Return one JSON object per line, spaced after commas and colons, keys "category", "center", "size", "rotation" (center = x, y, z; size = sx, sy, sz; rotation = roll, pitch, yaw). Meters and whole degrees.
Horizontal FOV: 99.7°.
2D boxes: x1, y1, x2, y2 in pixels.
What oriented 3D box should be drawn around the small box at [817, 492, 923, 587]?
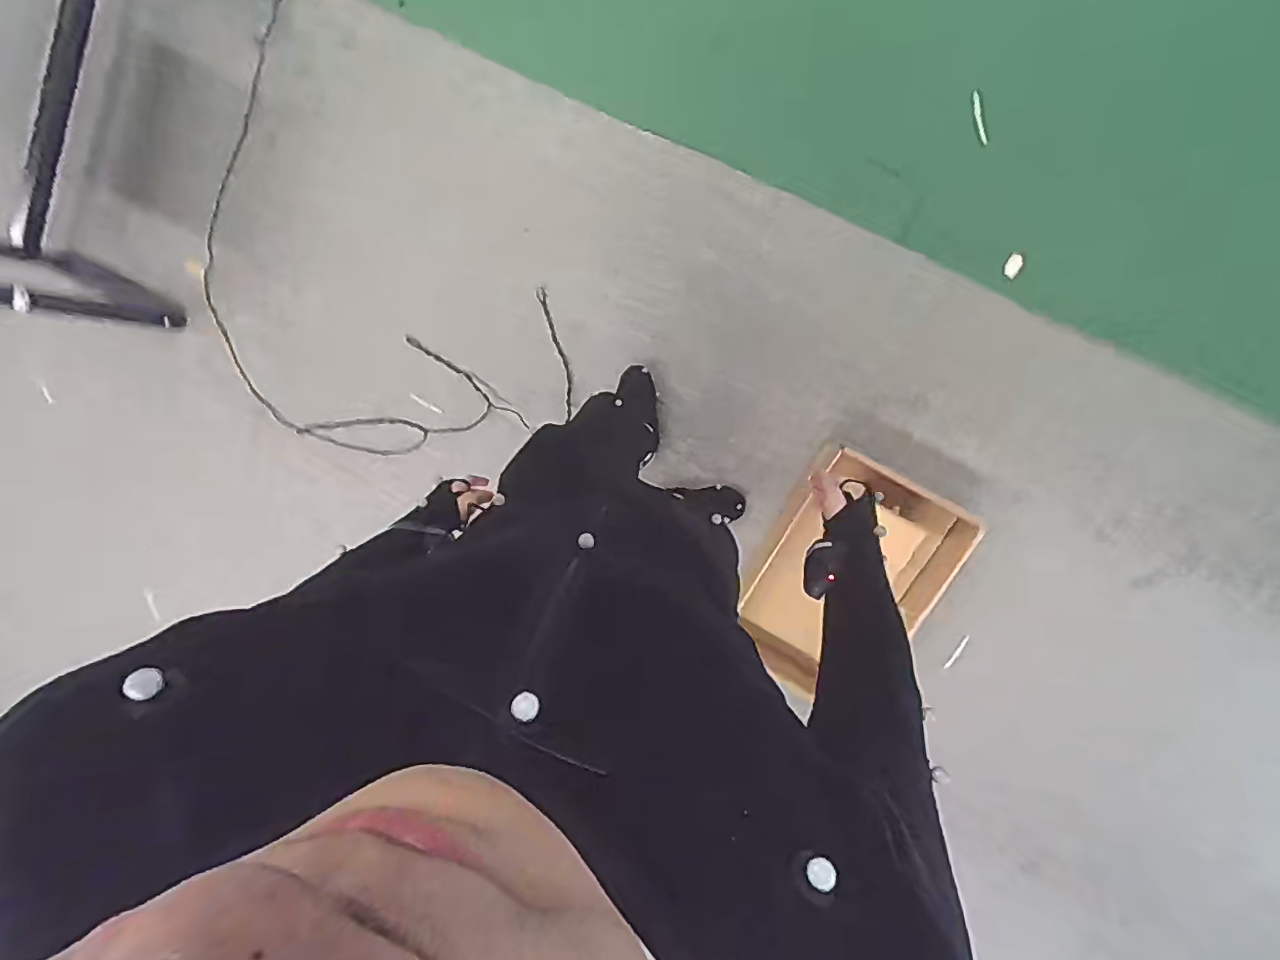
{"category": "small box", "center": [0.579, 0.143, 1.392], "size": [0.179, 0.176, 0.168], "rotation": [30, 102, 5]}
